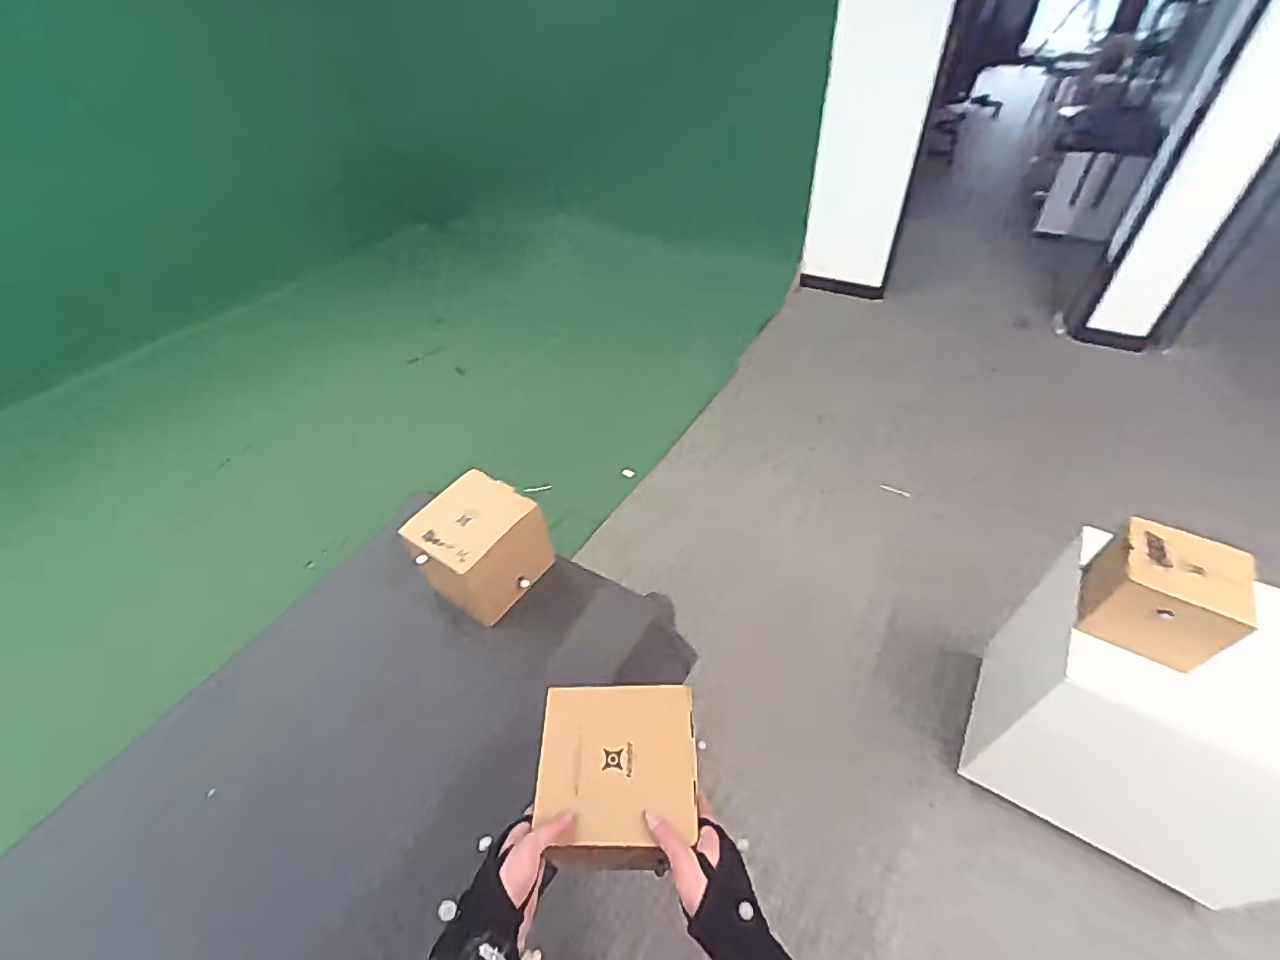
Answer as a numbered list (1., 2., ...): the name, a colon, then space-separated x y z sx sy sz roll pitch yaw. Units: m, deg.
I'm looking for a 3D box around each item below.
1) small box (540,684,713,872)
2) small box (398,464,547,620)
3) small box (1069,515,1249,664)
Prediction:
1. small box: -0.008 0.360 0.653 0.179 0.176 0.168 -3 47 4
2. small box: -0.283 0.109 0.958 0.168 0.176 0.179 26 53 25
3. small box: 0.919 0.200 0.976 0.179 0.176 0.168 25 53 22
